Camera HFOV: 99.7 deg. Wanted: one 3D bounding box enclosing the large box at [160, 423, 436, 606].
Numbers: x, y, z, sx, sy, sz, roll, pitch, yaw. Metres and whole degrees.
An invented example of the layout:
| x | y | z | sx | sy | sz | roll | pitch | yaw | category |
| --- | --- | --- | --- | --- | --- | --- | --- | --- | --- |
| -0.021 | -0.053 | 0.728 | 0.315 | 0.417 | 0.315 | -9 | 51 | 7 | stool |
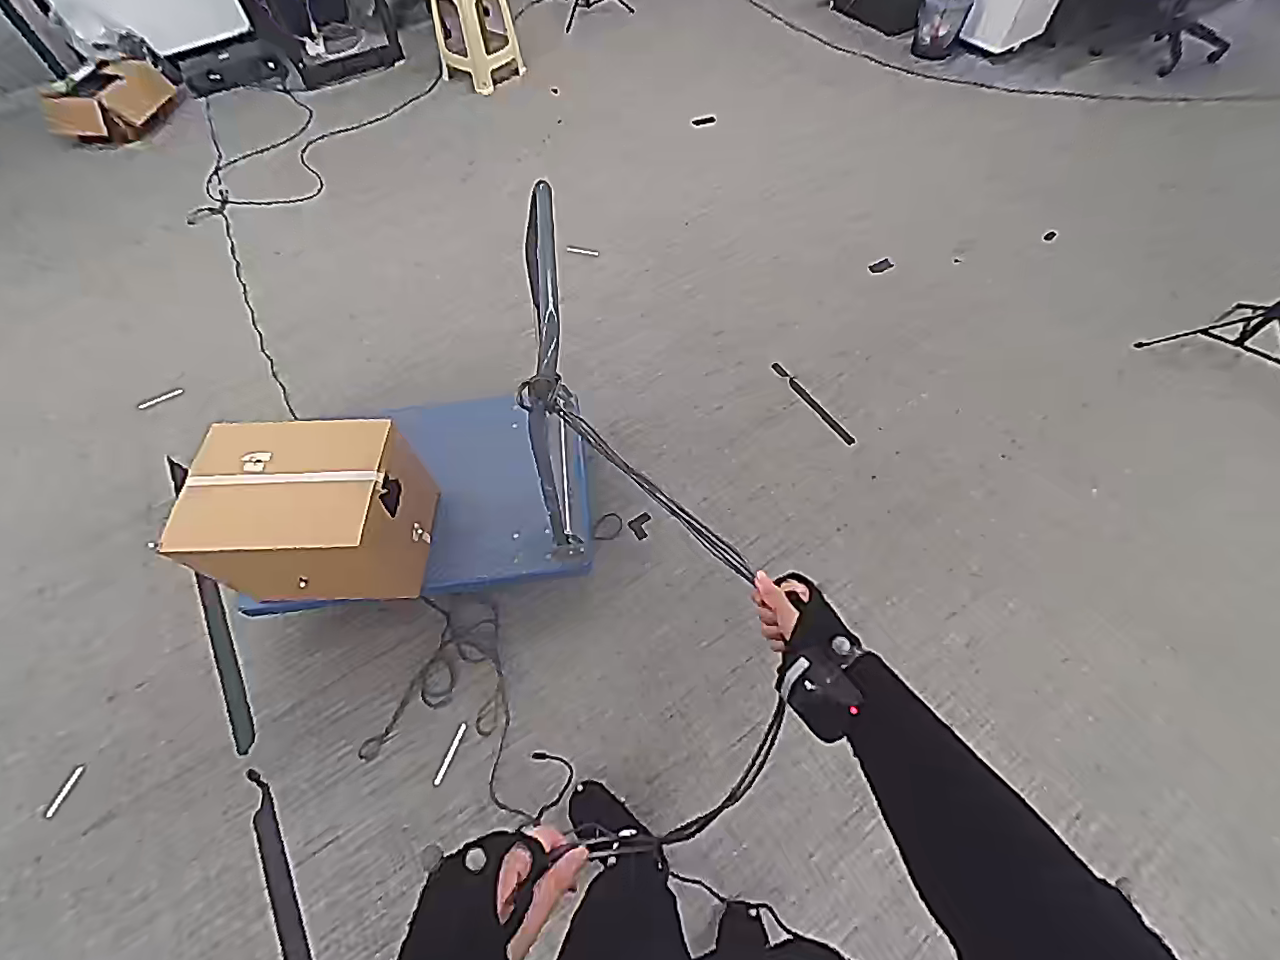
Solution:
| x | y | z | sx | sy | sz | roll | pitch | yaw | category |
| --- | --- | --- | --- | --- | --- | --- | --- | --- | --- |
| -0.736 | 0.091 | 1.250 | 0.408 | 0.320 | 0.320 | -3 | 59 | 1 | large box |
